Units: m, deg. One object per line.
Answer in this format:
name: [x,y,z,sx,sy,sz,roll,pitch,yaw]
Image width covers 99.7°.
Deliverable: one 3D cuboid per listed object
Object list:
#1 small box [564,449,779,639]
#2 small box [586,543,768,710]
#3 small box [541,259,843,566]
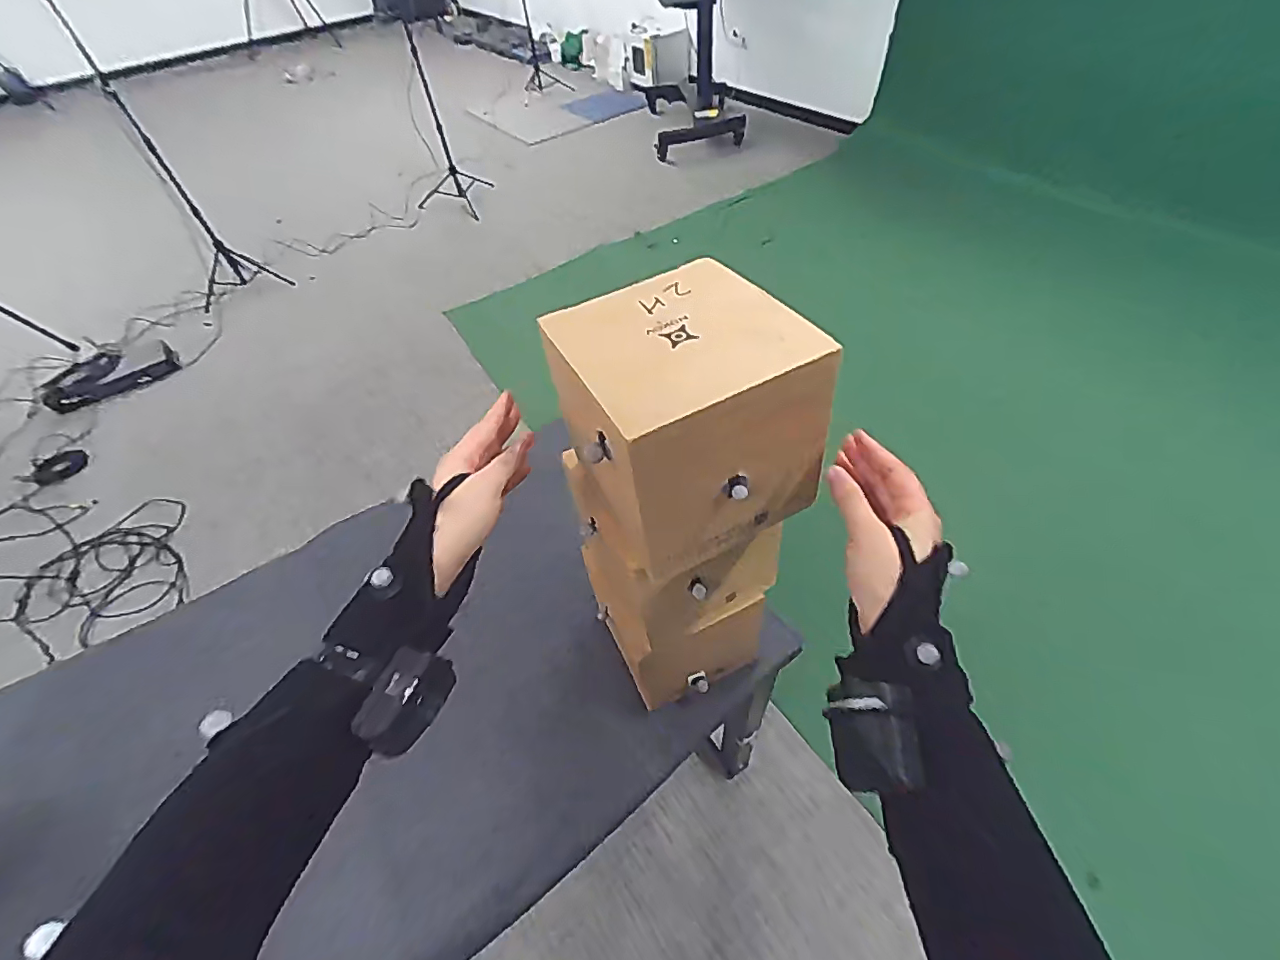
small box: [0.040,0.048,0.589,0.168,0.176,0.179,-25,48,-13]
small box: [0.046,0.163,0.705,0.168,0.176,0.179,-24,50,-12]
small box: [0.039,-0.051,0.455,0.168,0.176,0.179,-24,48,-13]
